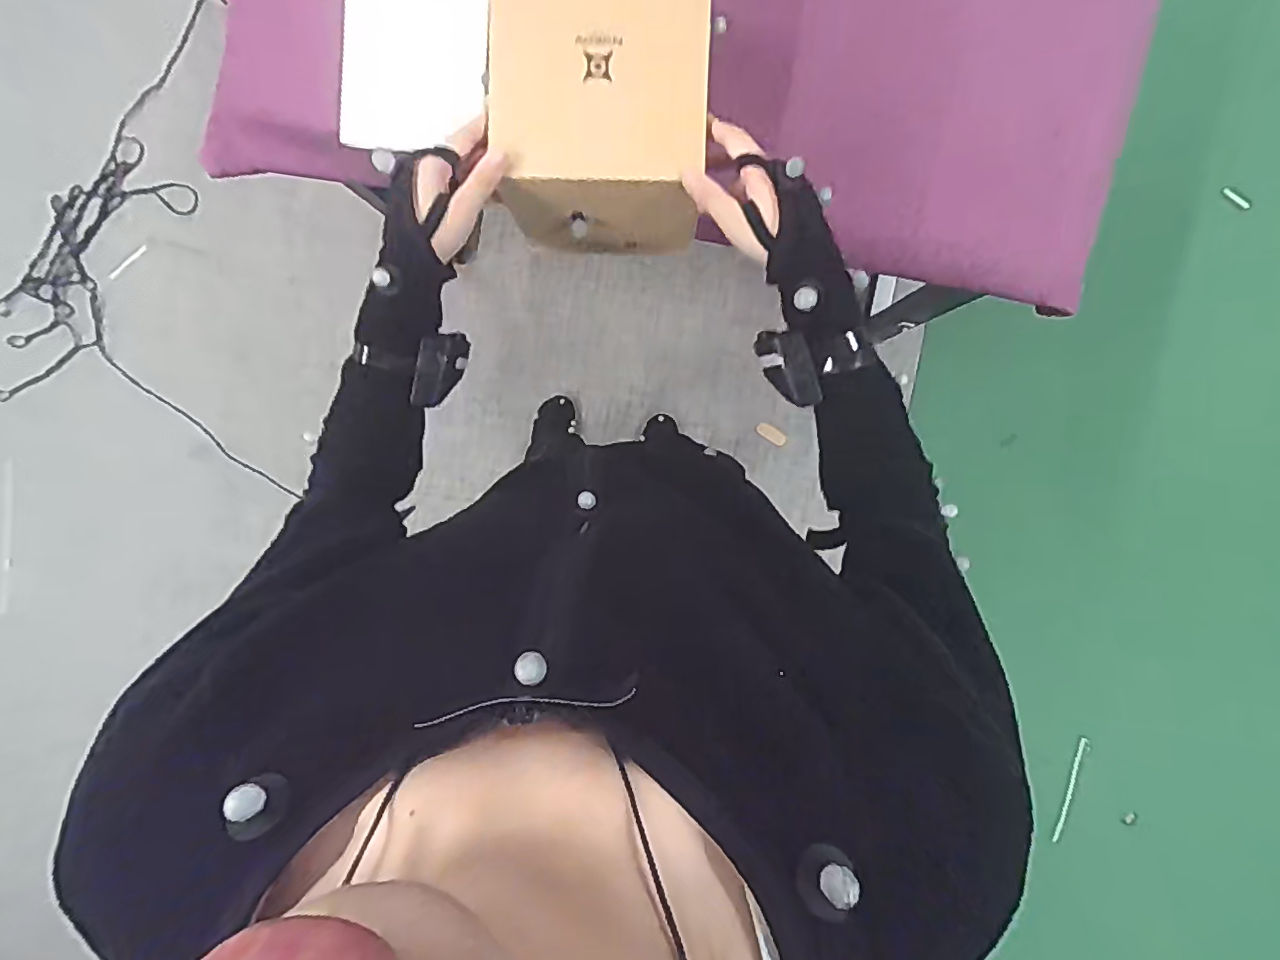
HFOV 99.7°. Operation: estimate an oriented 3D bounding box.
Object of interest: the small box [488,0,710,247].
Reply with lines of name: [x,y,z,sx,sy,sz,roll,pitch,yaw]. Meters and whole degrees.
small box: [-0.029,-0.322,0.480,0.168,0.176,0.179,1,93,0]
